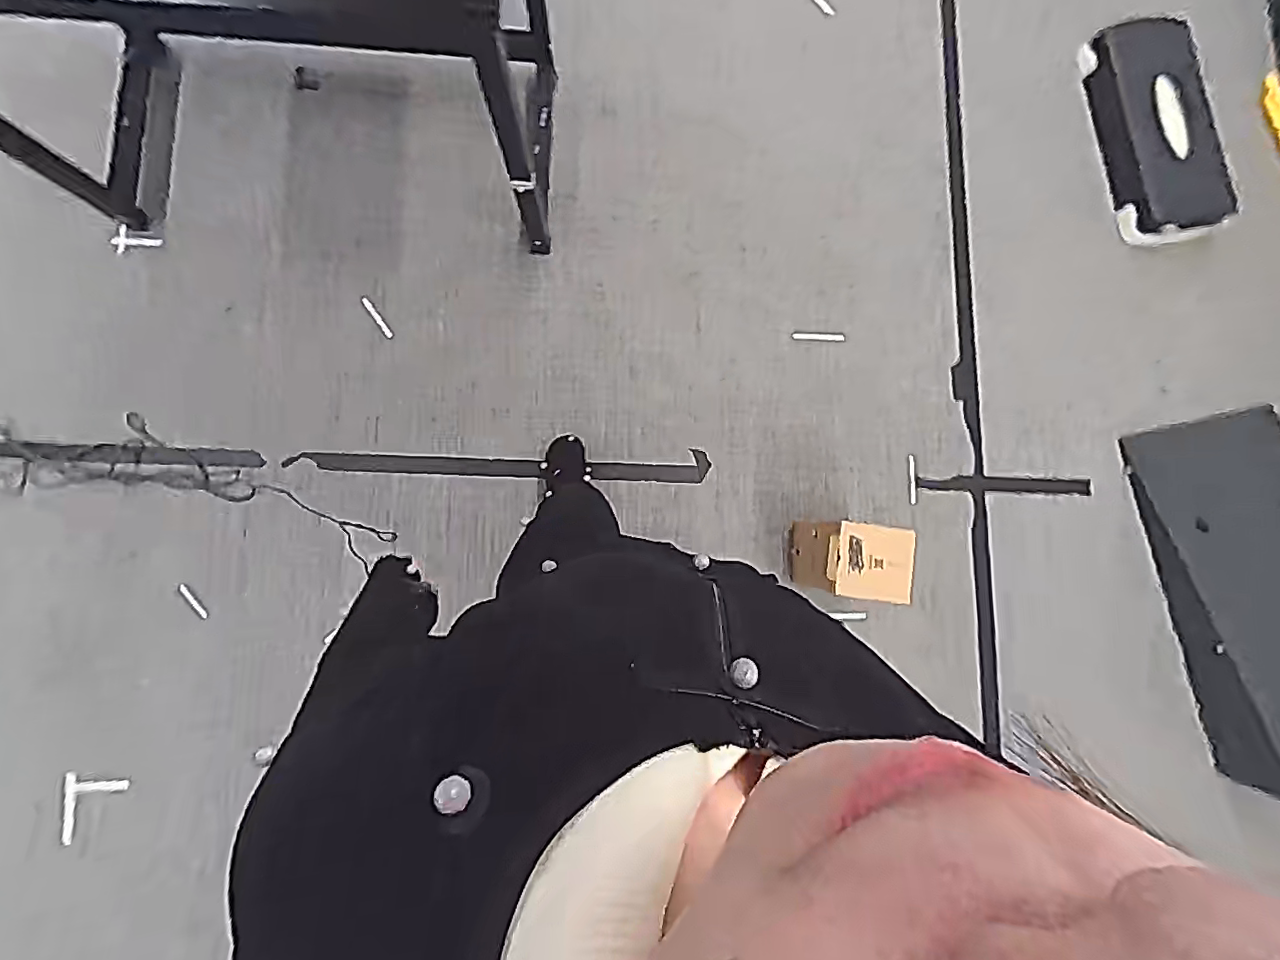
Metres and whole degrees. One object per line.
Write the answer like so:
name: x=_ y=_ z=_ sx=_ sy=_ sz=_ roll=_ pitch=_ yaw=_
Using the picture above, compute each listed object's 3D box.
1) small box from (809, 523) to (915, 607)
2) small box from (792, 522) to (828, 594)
small box: x=0.514 y=0.196 z=1.275 sx=0.179 sy=0.176 sz=0.168 roll=8 pitch=85 yaw=-3
small box: x=0.512 y=0.206 z=1.440 sx=0.168 sy=0.176 sz=0.179 roll=4 pitch=86 yaw=-3
